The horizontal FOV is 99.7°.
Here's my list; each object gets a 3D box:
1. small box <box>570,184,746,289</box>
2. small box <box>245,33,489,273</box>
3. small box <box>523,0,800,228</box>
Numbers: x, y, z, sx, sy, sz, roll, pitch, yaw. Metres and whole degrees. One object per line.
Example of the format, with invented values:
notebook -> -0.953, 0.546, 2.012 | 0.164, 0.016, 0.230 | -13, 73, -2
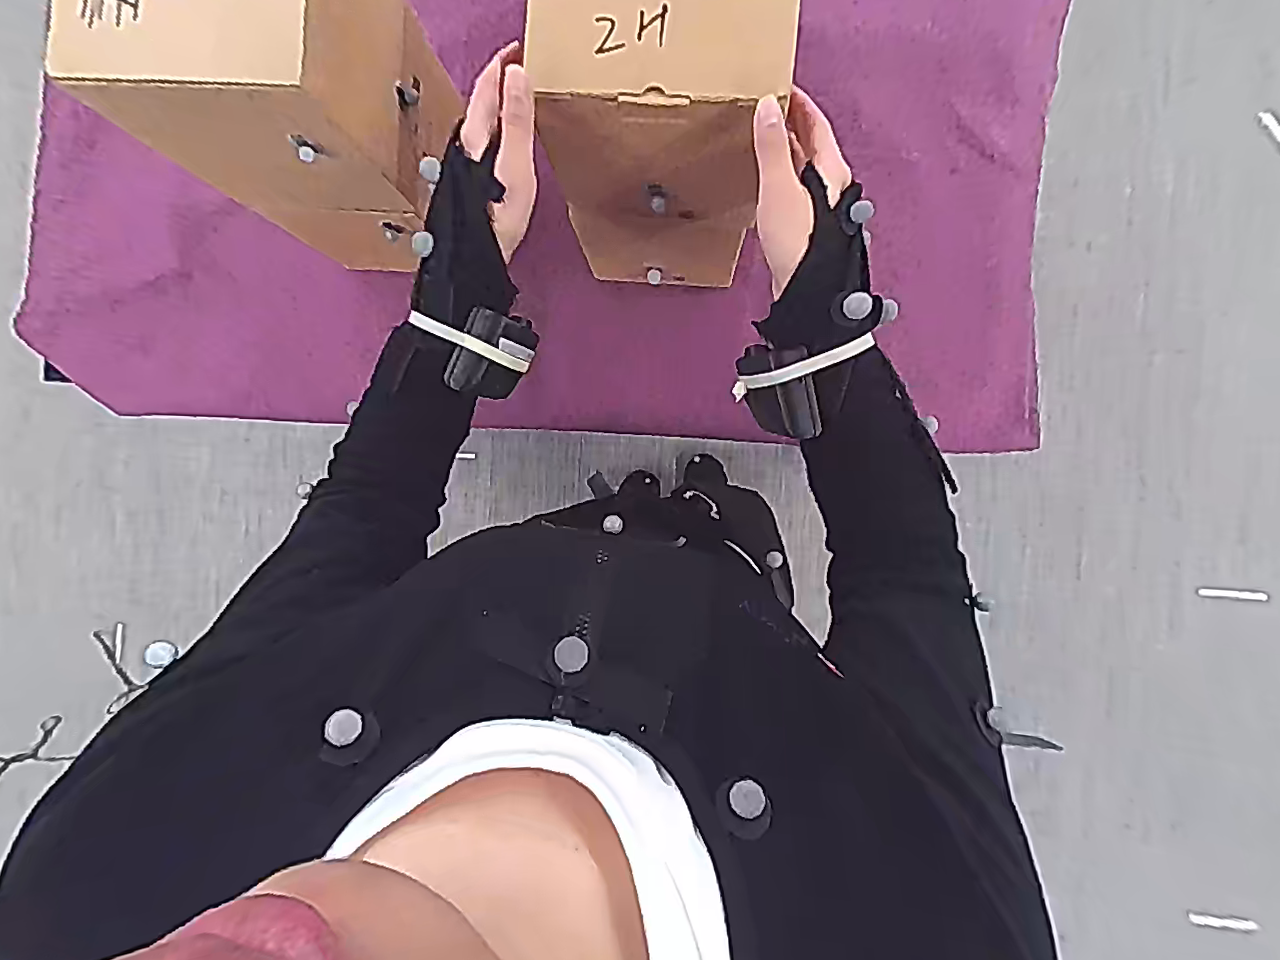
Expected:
small box -> 0.029, -0.323, 0.573 | 0.168, 0.176, 0.179 | 6, 91, 4
small box -> -0.284, -0.342, 0.595 | 0.179, 0.176, 0.168 | 4, 91, 3
small box -> 0.023, -0.320, 0.407 | 0.168, 0.176, 0.179 | 6, 90, 5
